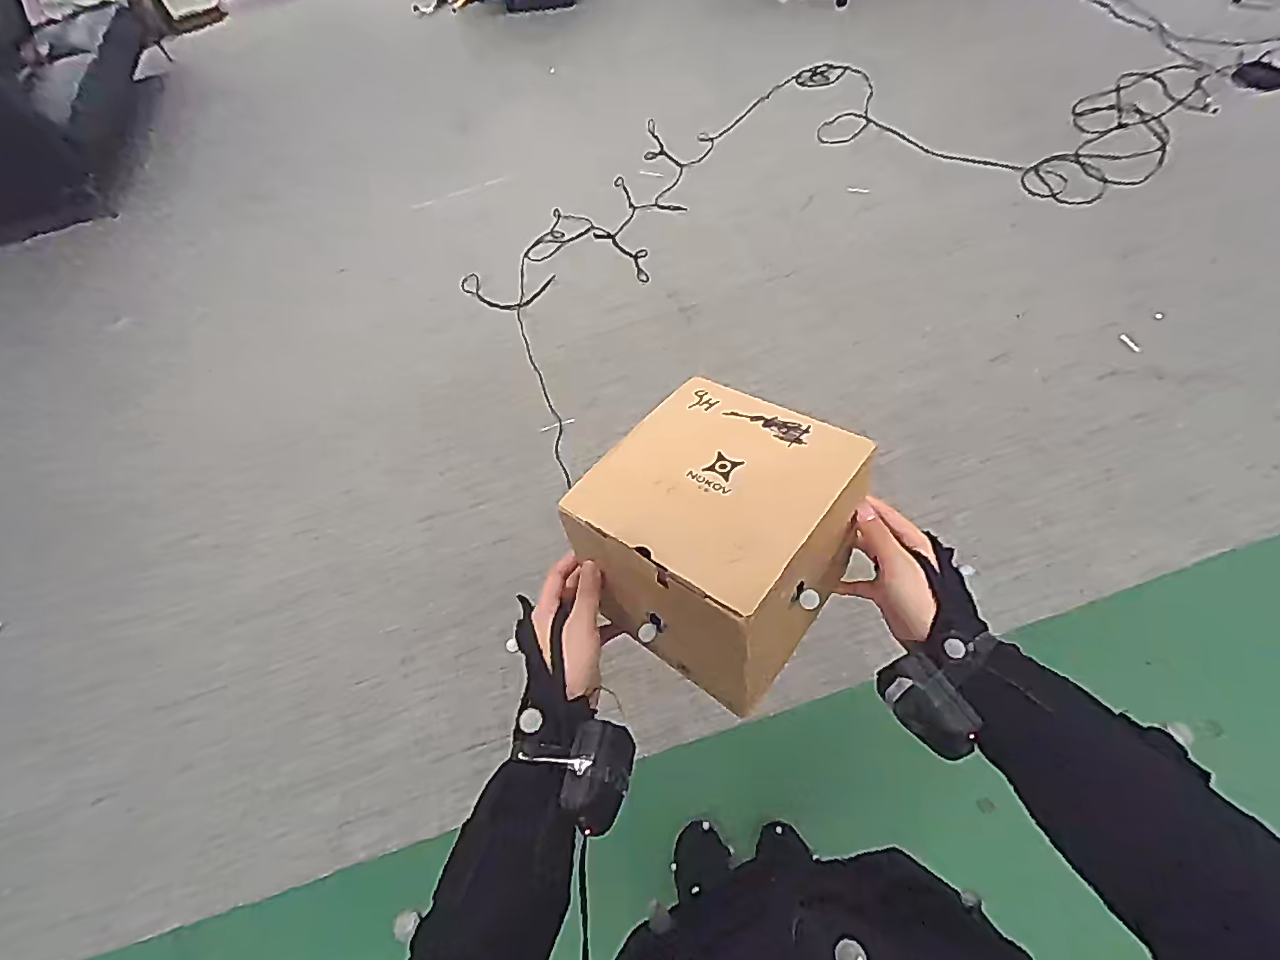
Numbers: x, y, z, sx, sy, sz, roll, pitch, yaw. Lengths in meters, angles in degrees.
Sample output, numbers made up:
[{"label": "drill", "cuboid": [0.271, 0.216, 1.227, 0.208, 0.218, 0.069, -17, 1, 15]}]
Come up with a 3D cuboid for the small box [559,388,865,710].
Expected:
[{"label": "small box", "cuboid": [0.065, 0.058, 0.458, 0.168, 0.176, 0.179, 28, 59, 31]}]
